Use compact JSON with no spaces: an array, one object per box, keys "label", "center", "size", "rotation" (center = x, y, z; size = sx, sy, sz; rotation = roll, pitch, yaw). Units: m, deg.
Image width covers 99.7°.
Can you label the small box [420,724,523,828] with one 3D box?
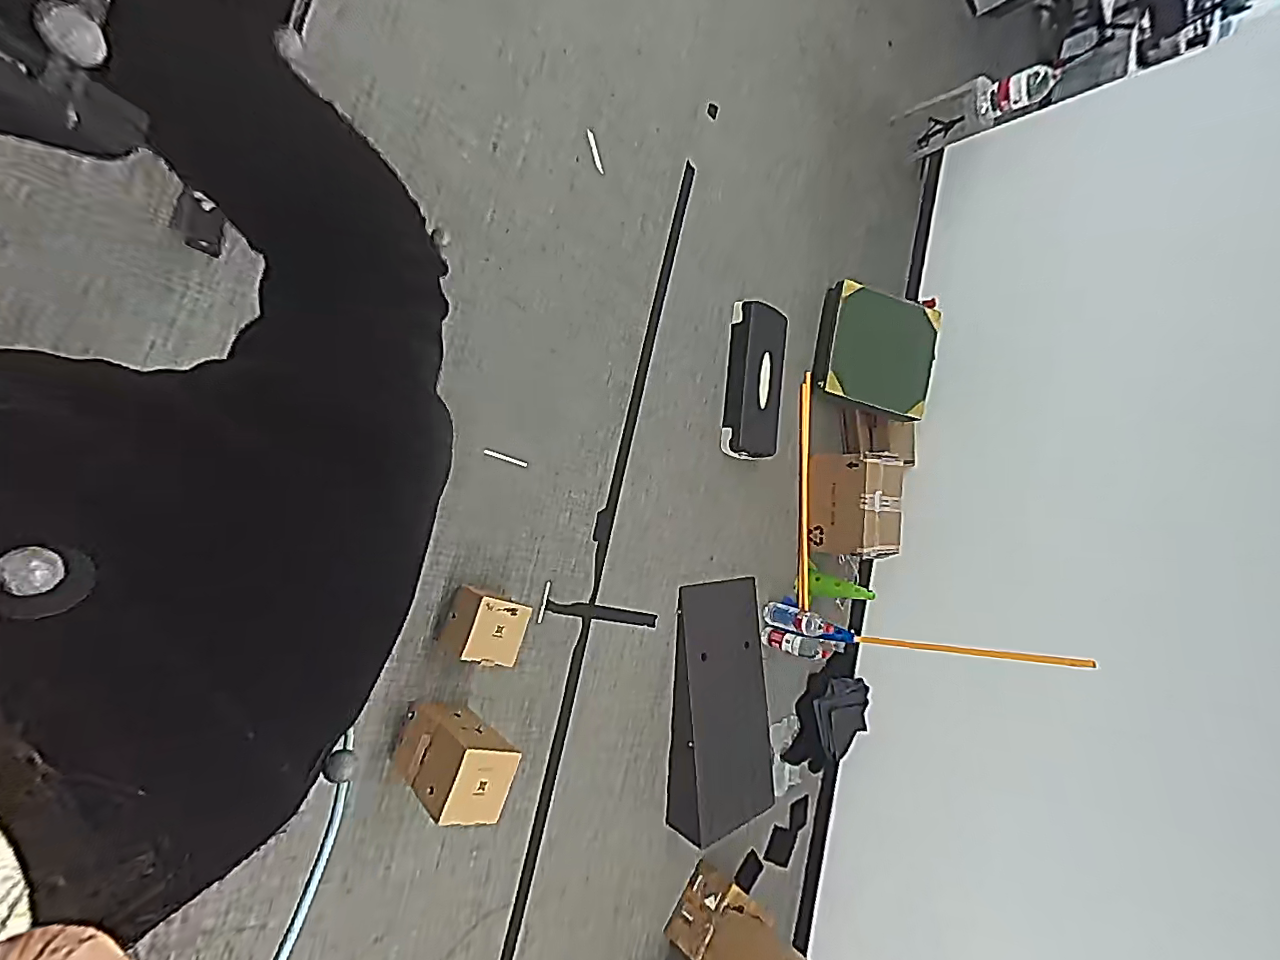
[{"label":"small box","center":[-0.432,0.746,1.368],"size":[0.168,0.176,0.179],"rotation":[30,73,-39]}]

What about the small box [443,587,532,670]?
[{"label":"small box","center":[-0.443,0.423,1.551],"size":[0.168,0.176,0.179],"rotation":[27,76,-39]}]

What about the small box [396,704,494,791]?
[{"label":"small box","center":[-0.541,0.733,1.488],"size":[0.179,0.176,0.168],"rotation":[28,75,-40]}]
